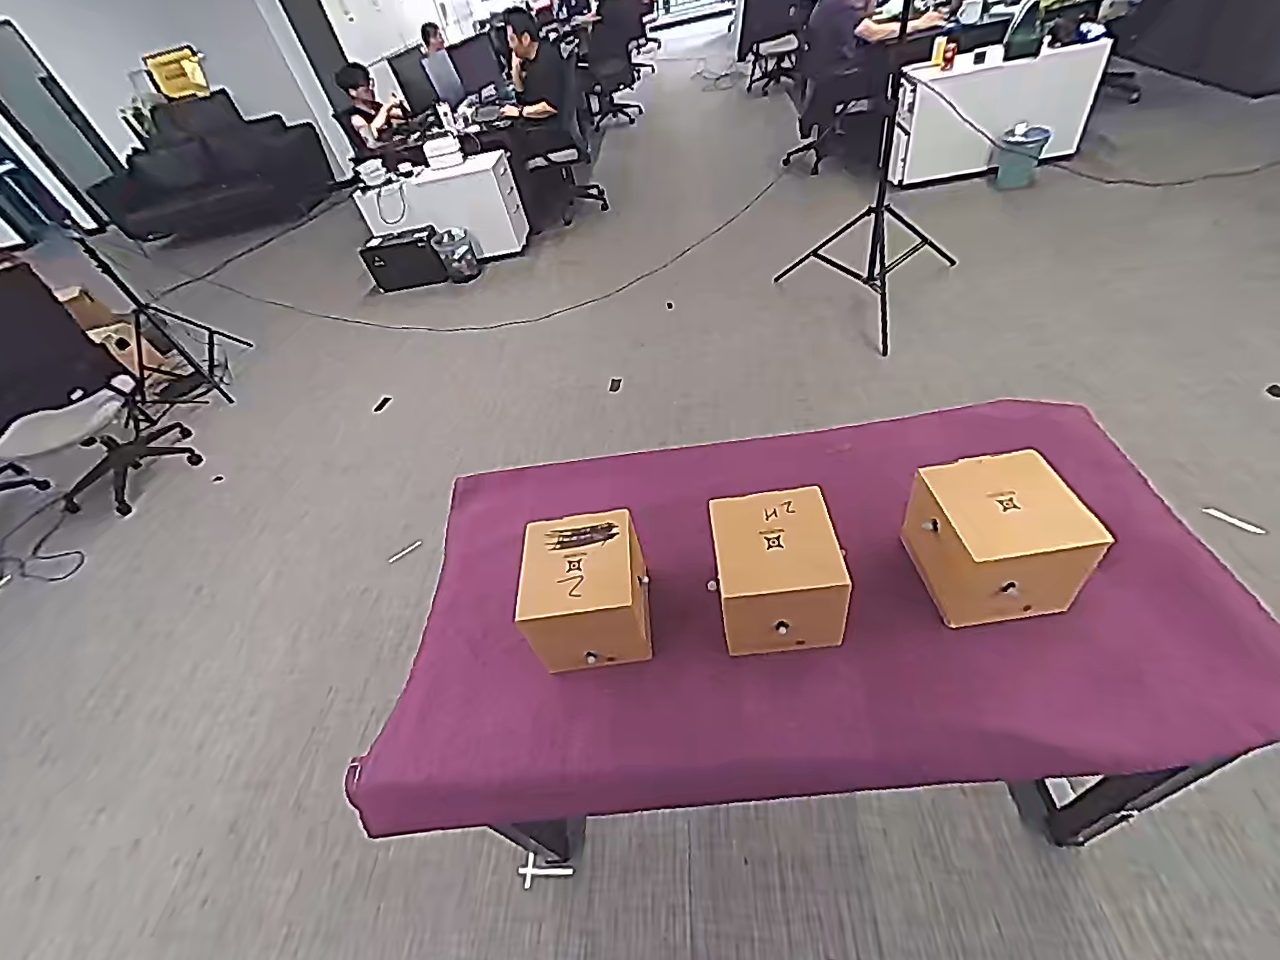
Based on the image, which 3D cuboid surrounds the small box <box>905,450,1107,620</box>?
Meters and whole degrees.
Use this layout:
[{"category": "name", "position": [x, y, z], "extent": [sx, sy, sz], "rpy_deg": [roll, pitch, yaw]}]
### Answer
[{"category": "small box", "position": [0.506, 0.086, 0.783], "extent": [0.168, 0.176, 0.179], "rpy_deg": [-10, 43, 6]}]

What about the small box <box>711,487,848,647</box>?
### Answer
[{"category": "small box", "position": [0.202, 0.137, 0.812], "extent": [0.168, 0.176, 0.179], "rpy_deg": [-7, 45, 7]}]
